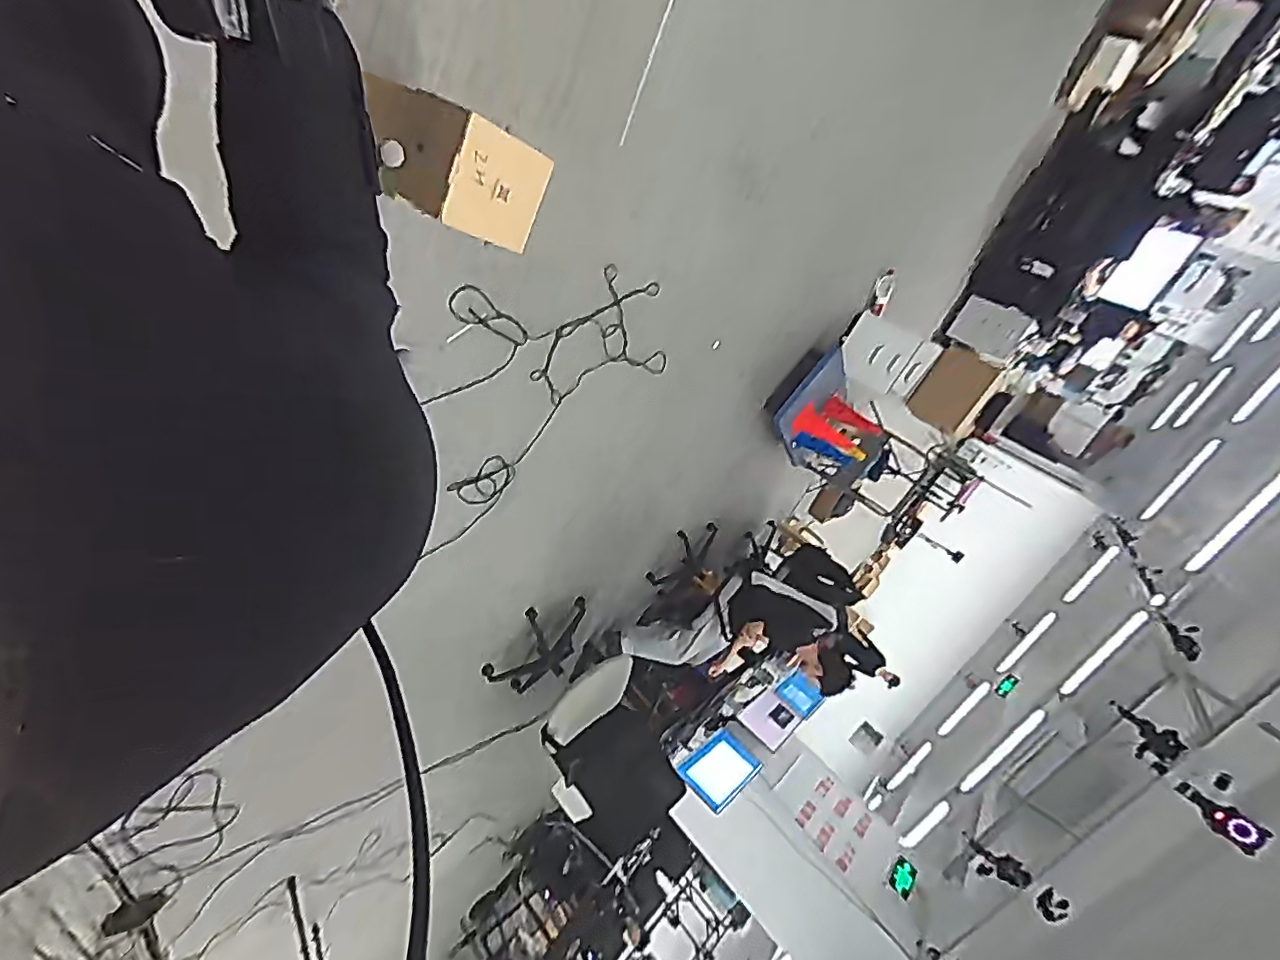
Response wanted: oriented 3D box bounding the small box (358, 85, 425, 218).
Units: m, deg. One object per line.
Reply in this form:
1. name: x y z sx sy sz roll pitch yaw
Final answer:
1. small box: -0.404 -0.597 1.017 0.168 0.176 0.179 -5 127 -53

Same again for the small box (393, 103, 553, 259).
1. small box: -0.289 -0.514 0.934 0.179 0.176 0.168 -3 126 -53

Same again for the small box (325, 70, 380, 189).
1. small box: -0.514 -0.685 1.101 0.168 0.176 0.179 -1 125 -54
